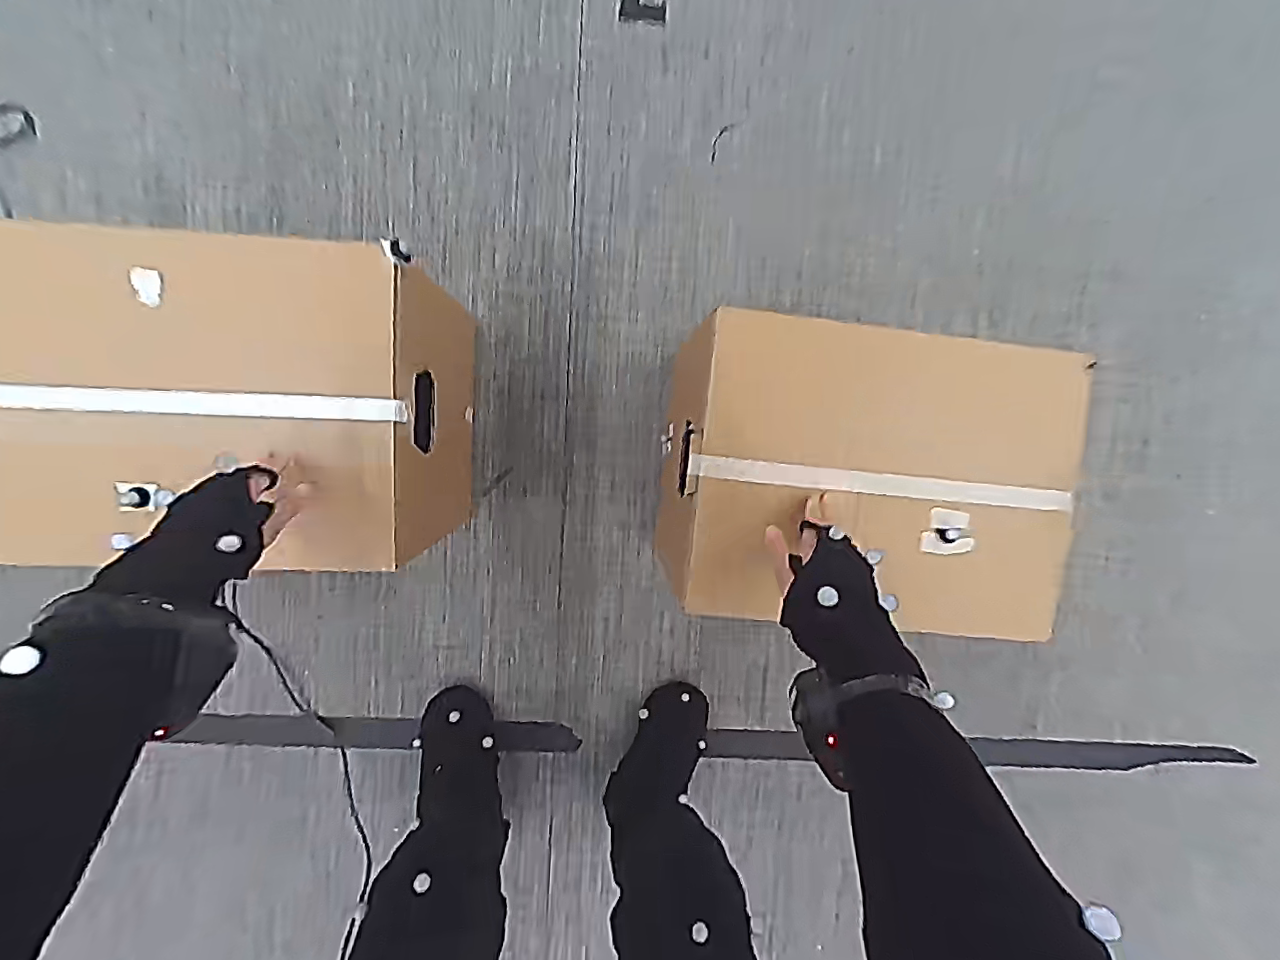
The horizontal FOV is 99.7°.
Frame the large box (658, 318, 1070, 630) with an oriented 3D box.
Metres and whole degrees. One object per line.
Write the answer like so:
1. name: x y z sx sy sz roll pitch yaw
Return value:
1. large box: 0.248 -0.008 0.728 0.408 0.320 0.320 6 94 -5
